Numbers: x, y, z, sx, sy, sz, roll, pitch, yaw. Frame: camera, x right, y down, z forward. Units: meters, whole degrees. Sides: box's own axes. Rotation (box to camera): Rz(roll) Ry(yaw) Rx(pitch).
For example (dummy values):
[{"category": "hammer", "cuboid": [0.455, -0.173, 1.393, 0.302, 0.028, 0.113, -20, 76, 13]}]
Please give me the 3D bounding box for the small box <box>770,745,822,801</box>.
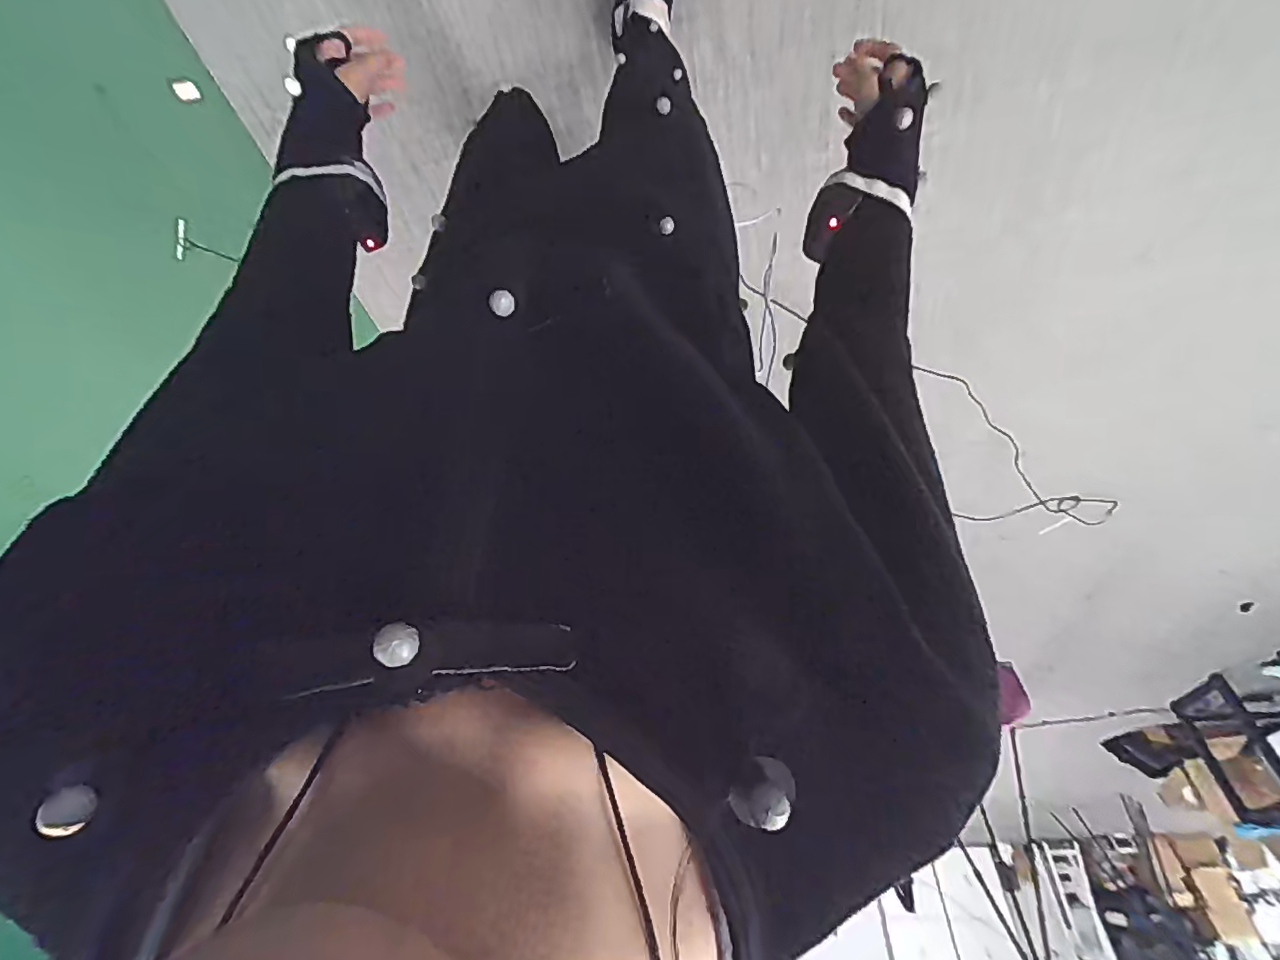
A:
[{"category": "small box", "cuboid": [0.621, 1.179, 2.176, 0.179, 0.176, 0.168, -6, 140, 9]}]
